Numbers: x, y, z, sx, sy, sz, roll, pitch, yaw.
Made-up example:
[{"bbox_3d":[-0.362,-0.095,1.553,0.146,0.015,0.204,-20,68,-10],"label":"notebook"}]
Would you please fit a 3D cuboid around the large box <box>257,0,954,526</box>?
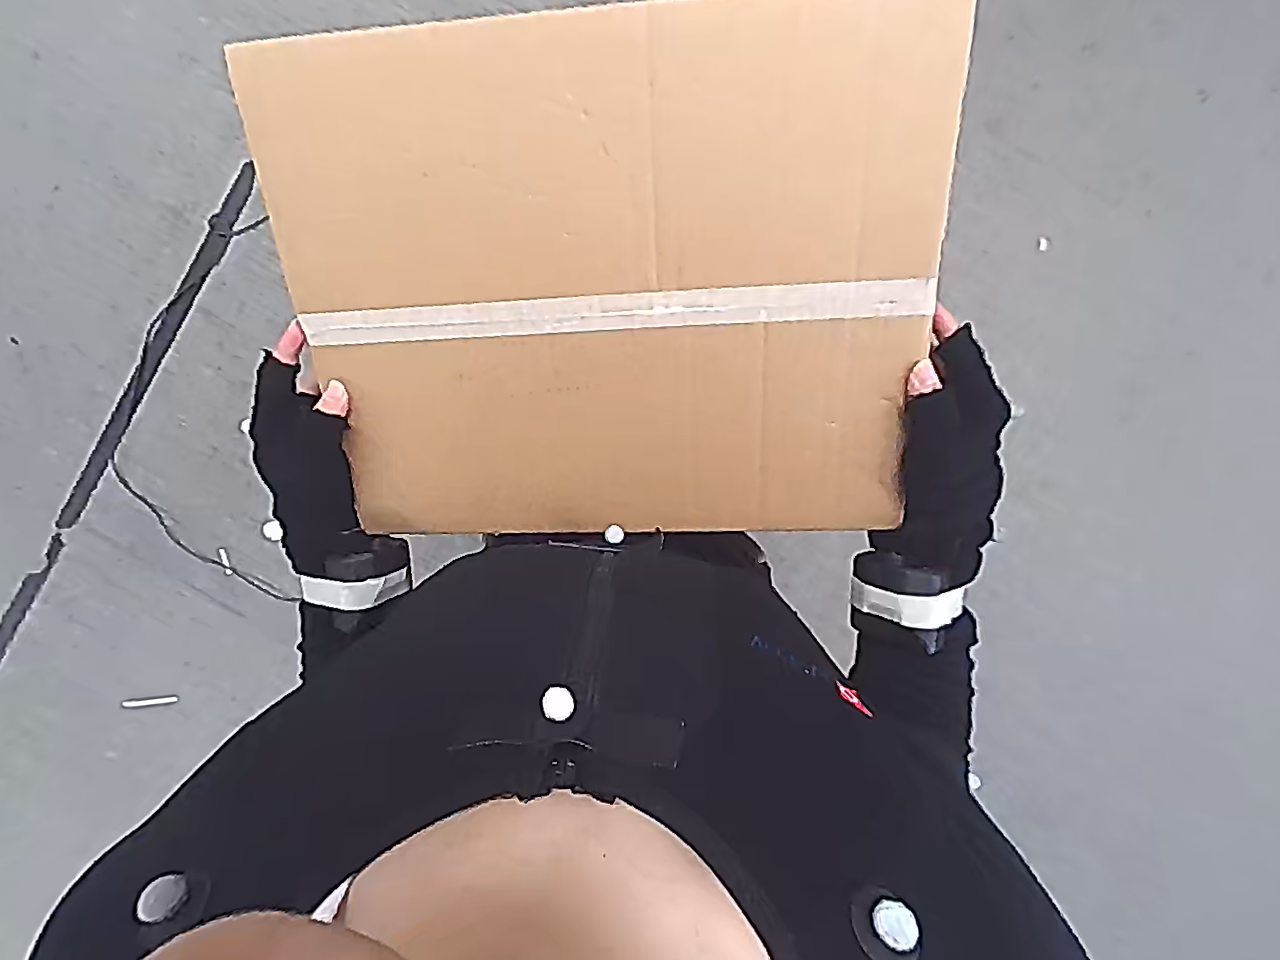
[{"bbox_3d":[-0.013,-0.167,0.492,0.408,0.320,0.320,-1,113,6],"label":"large box"}]
